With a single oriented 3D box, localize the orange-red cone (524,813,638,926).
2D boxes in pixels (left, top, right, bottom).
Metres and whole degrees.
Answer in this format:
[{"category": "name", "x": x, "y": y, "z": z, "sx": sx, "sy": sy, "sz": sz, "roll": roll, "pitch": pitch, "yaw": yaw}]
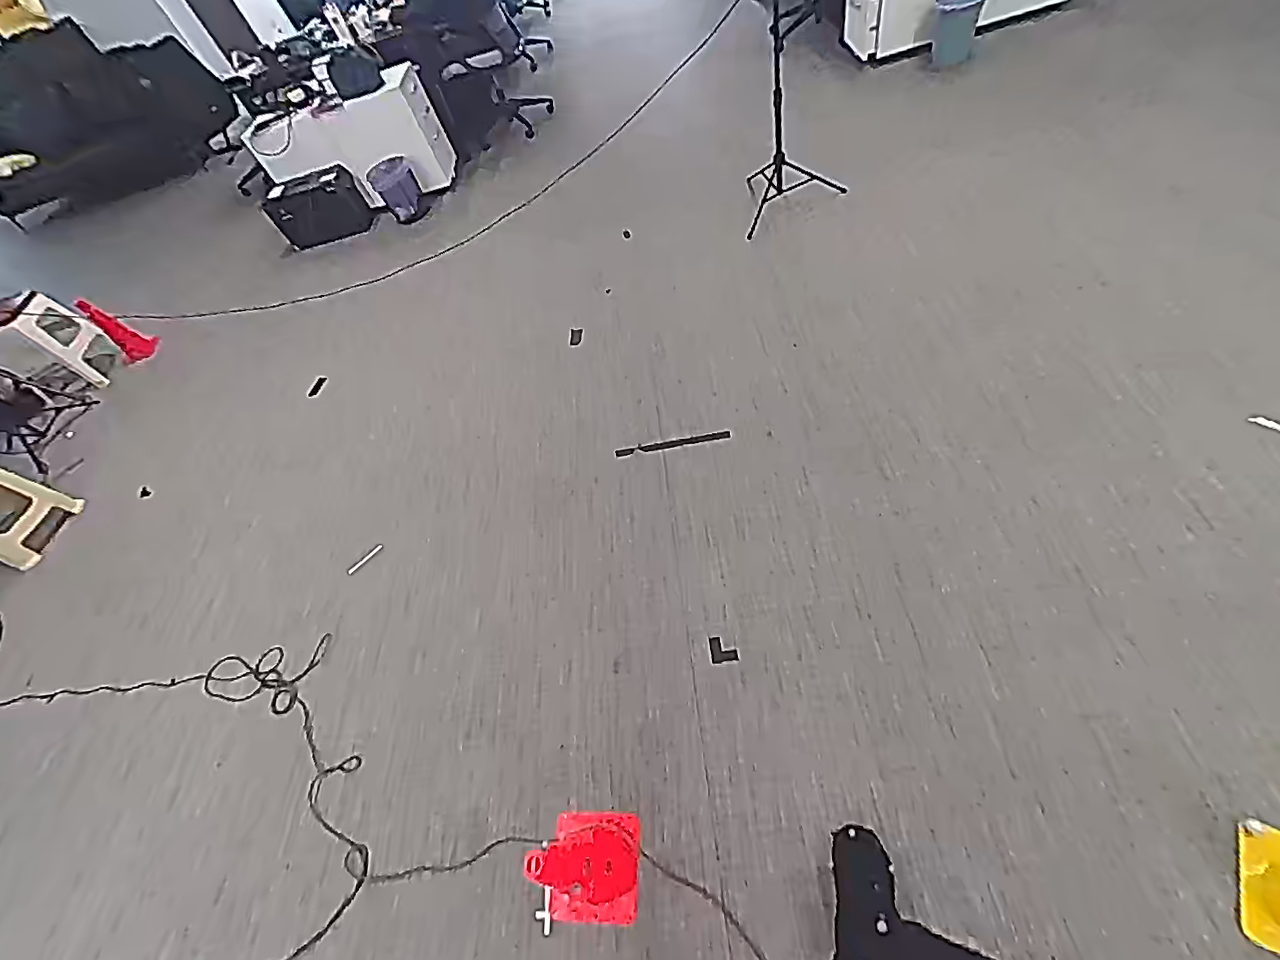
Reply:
[{"category": "orange-red cone", "x": -0.141, "y": 0.763, "z": 1.066, "sx": 0.199, "sy": 0.360, "sz": 0.198, "roll": -4, "pitch": 55, "yaw": 12}]
